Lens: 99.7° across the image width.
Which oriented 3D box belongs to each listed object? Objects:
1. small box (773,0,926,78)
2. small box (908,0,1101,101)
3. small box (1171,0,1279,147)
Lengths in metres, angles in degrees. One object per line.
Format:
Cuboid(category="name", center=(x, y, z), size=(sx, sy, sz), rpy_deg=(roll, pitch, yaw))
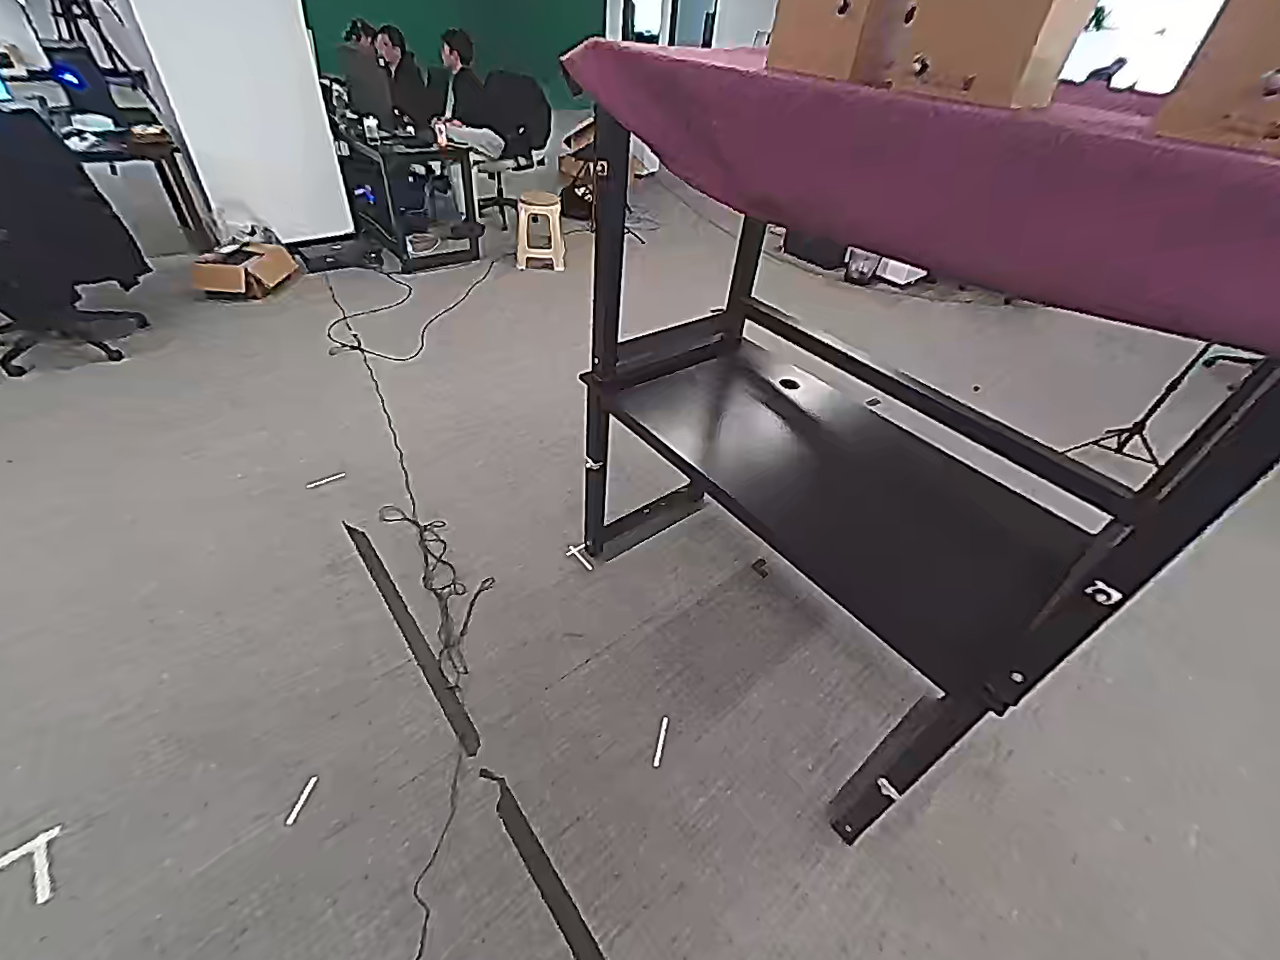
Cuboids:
Cuboid(category="small box", center=(0.341, -0.749, 0.853), size=(0.168, 0.176, 0.179), rpy_deg=(-24, 49, -31))
Cuboid(category="small box", center=(0.485, -0.611, 0.713), size=(0.179, 0.176, 0.168), rpy_deg=(-29, 52, -35))
Cuboid(category="small box", center=(0.679, -0.423, 0.519), size=(0.179, 0.176, 0.168), rpy_deg=(-21, 47, -29))
